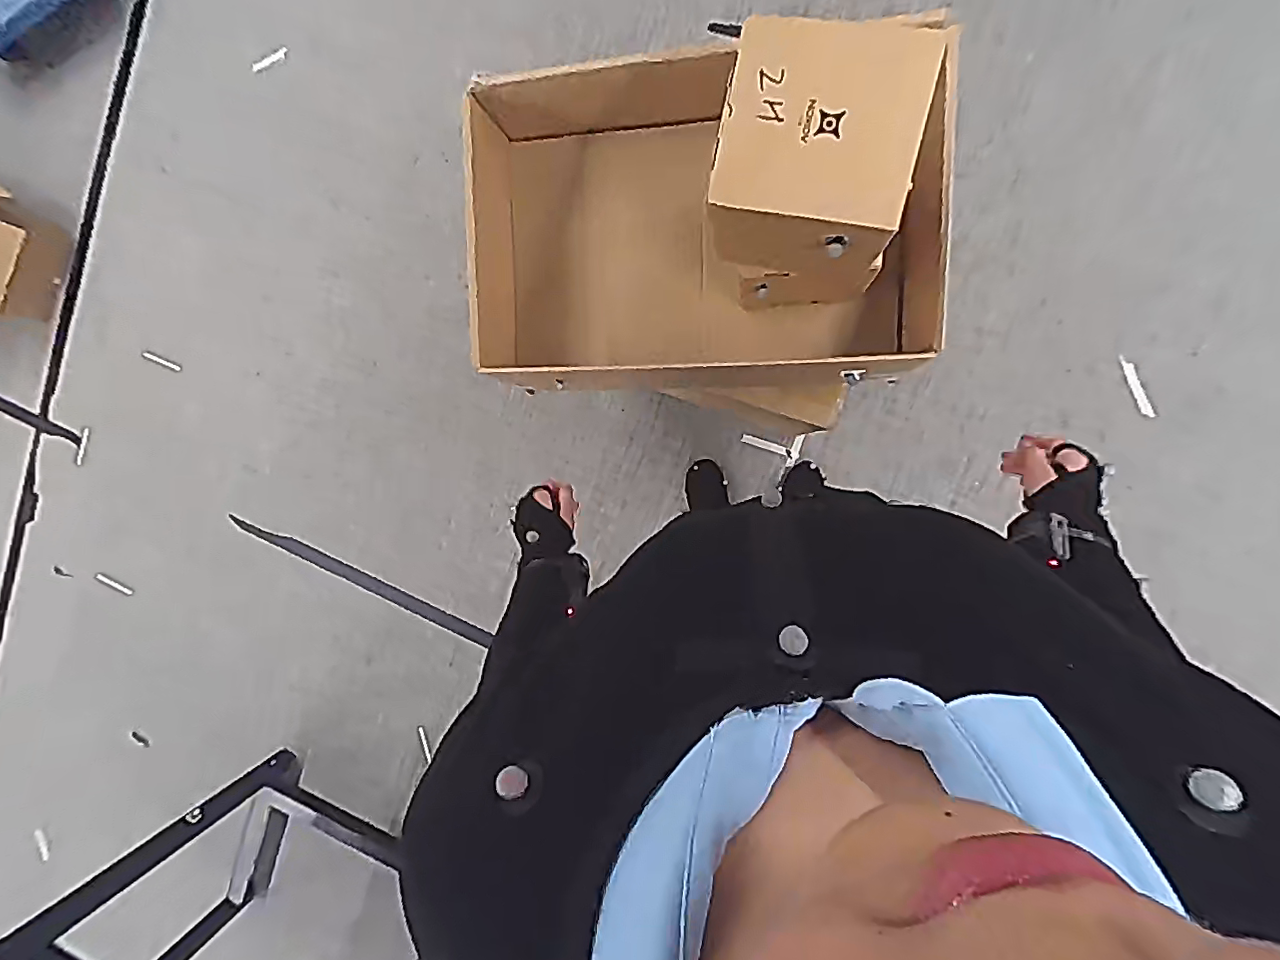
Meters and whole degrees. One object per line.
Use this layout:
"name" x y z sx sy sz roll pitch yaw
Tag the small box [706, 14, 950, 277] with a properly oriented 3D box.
"small box" 0.177 -0.322 0.556 0.179 0.176 0.168 14 97 11
